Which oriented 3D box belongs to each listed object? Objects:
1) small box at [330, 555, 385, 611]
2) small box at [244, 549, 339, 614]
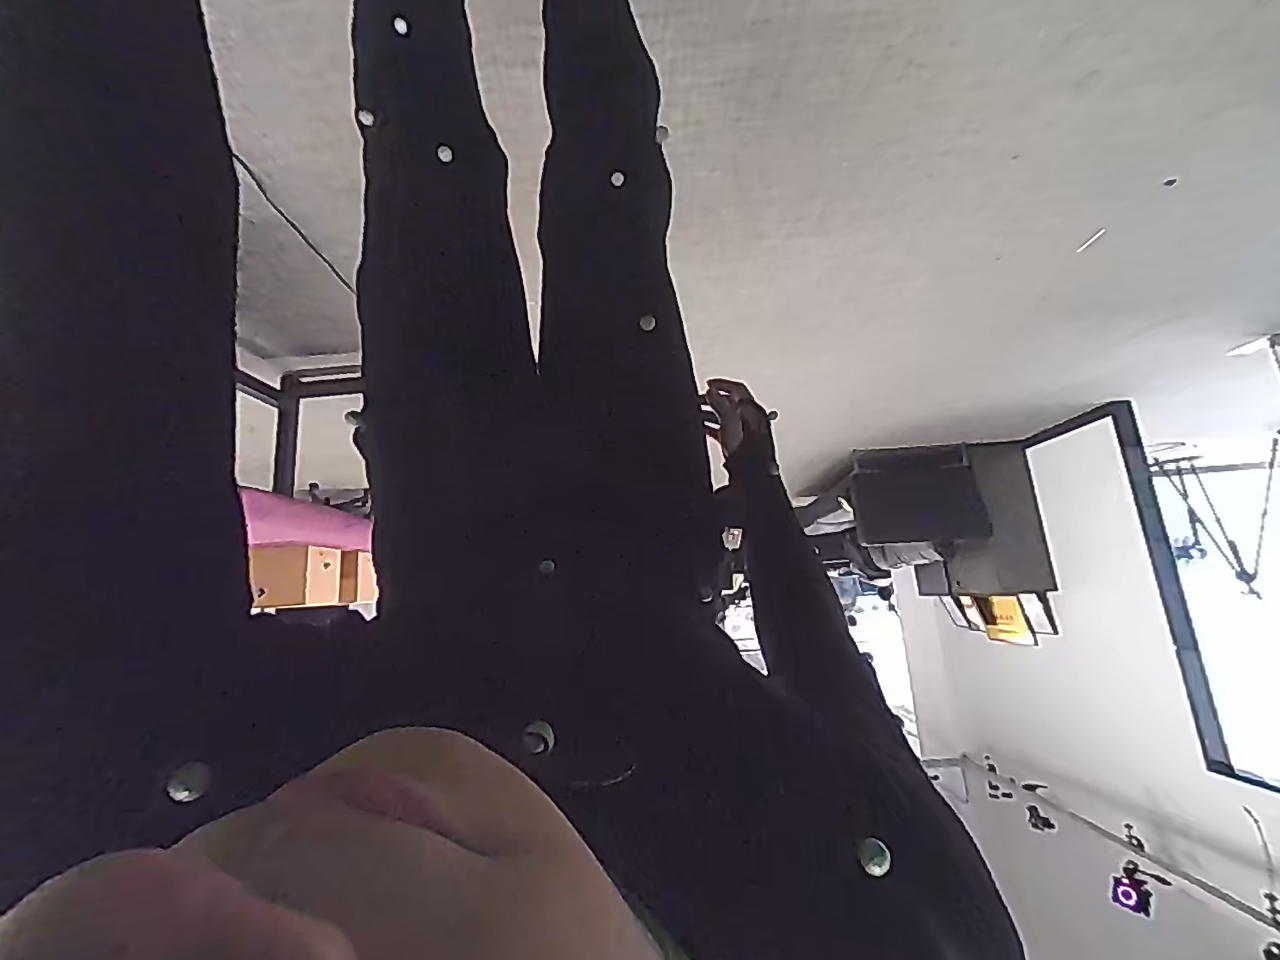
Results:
[{"bbox_3d":[-0.984,0.351,1.827,0.179,0.176,0.168,-6,168,5],"label":"small box"},{"bbox_3d":[-1.012,0.300,1.584,0.179,0.176,0.168,-4,168,0],"label":"small box"}]
